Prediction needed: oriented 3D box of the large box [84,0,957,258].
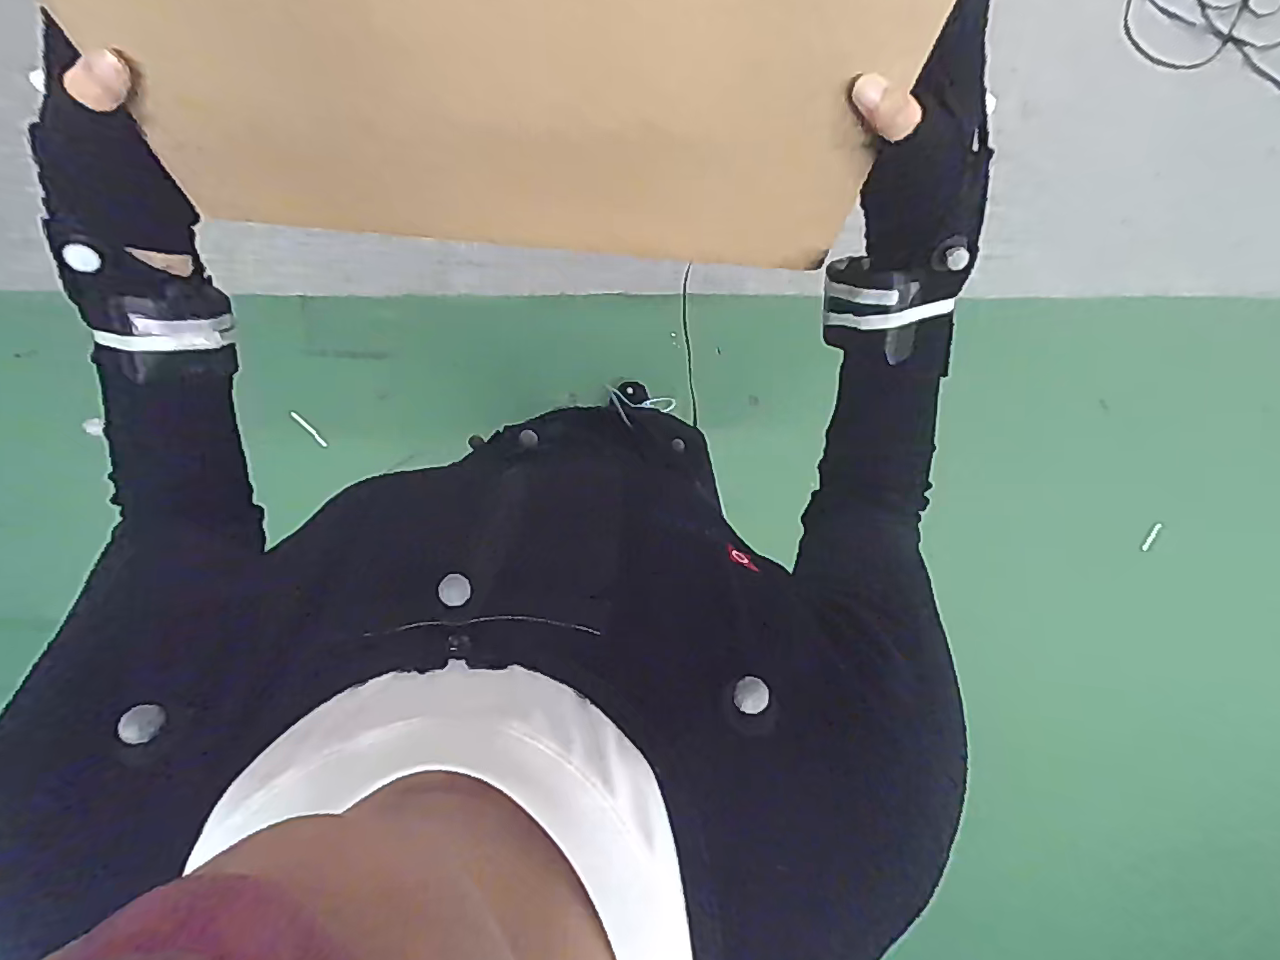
[{"bbox_3d":[-0.052,-0.359,0.286,0.408,0.320,0.320,4,66,-5],"label":"large box"}]
